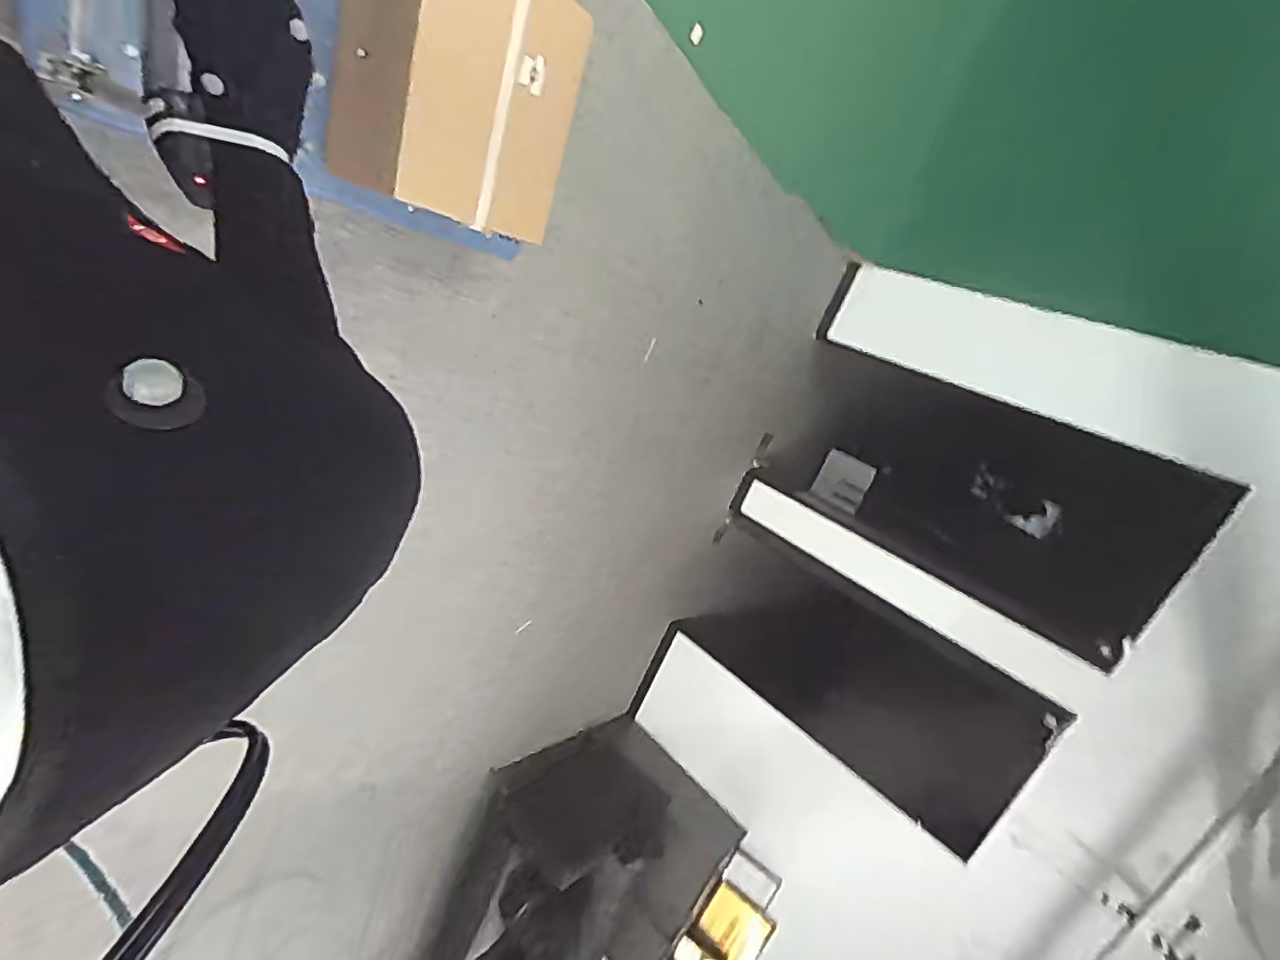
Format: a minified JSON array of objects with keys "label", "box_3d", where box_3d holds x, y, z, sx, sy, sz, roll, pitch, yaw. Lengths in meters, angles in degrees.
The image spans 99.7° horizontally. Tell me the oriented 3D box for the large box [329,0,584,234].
[{"label":"large box","box_3d":[-0.358,-0.733,1.019,0.320,0.320,0.408,-8,122,-50]}]
